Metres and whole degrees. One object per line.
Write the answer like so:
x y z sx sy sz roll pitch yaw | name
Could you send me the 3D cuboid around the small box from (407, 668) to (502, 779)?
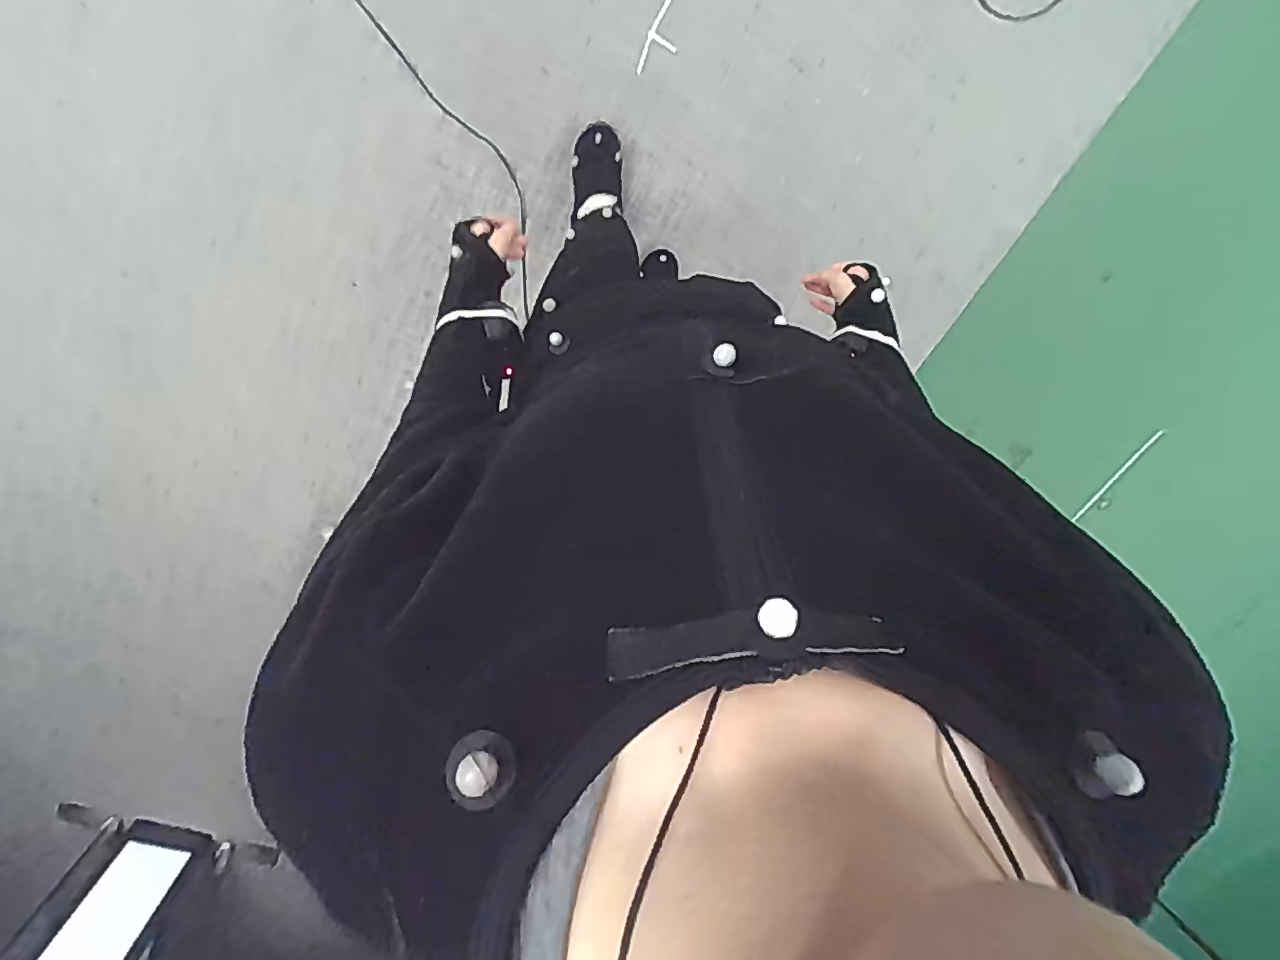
-0.459 0.608 1.362 0.168 0.176 0.179 20 112 -10 | small box
